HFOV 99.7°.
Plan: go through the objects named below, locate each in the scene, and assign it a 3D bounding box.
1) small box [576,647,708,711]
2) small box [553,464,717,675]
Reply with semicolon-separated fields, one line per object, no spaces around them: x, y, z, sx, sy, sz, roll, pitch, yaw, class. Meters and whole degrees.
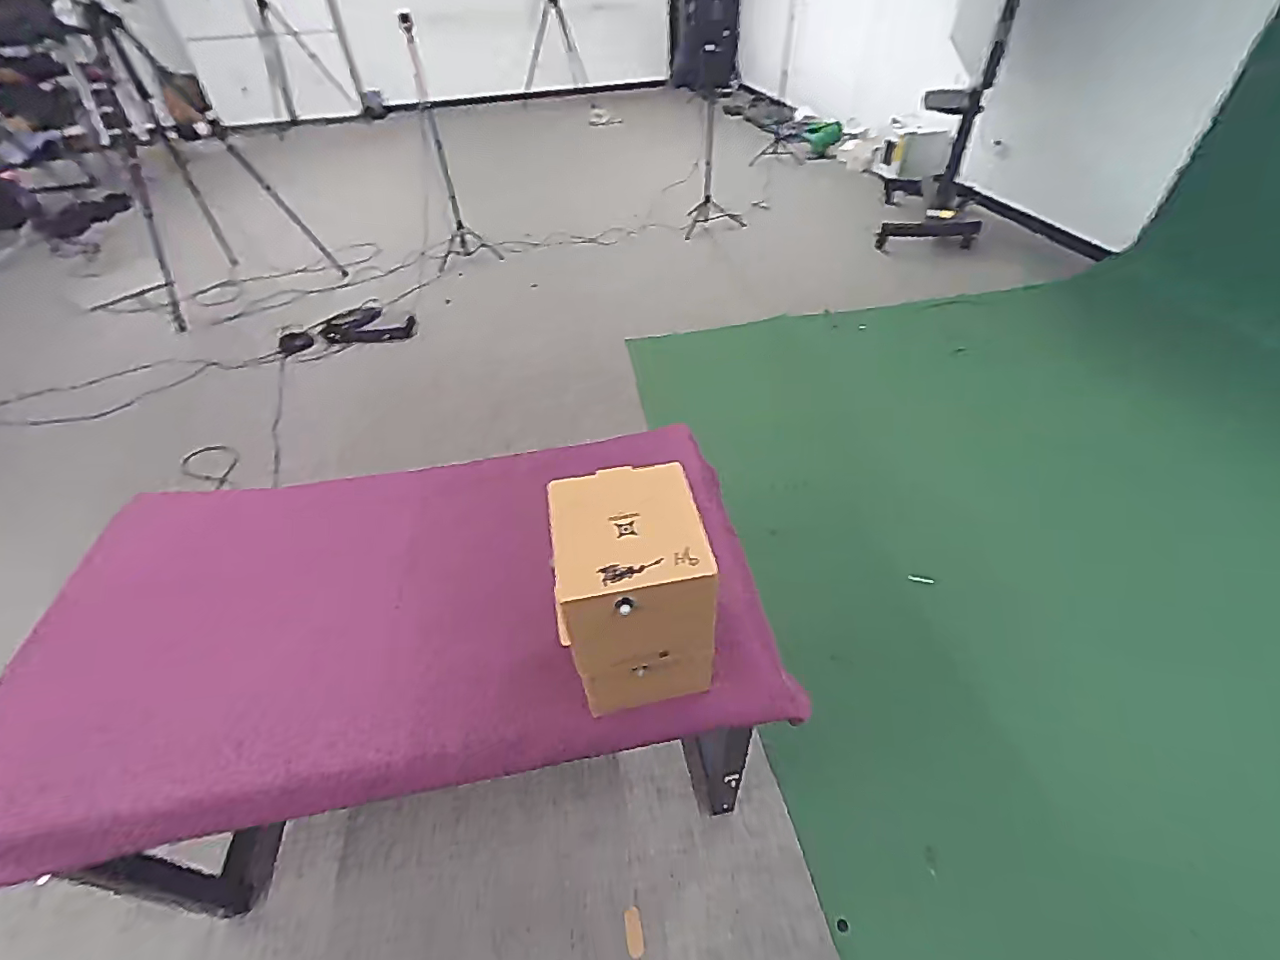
-0.003;0.213;0.789;0.179;0.176;0.168;-11;45;-7;small box
-0.010;0.108;0.661;0.168;0.176;0.179;-10;44;-5;small box
